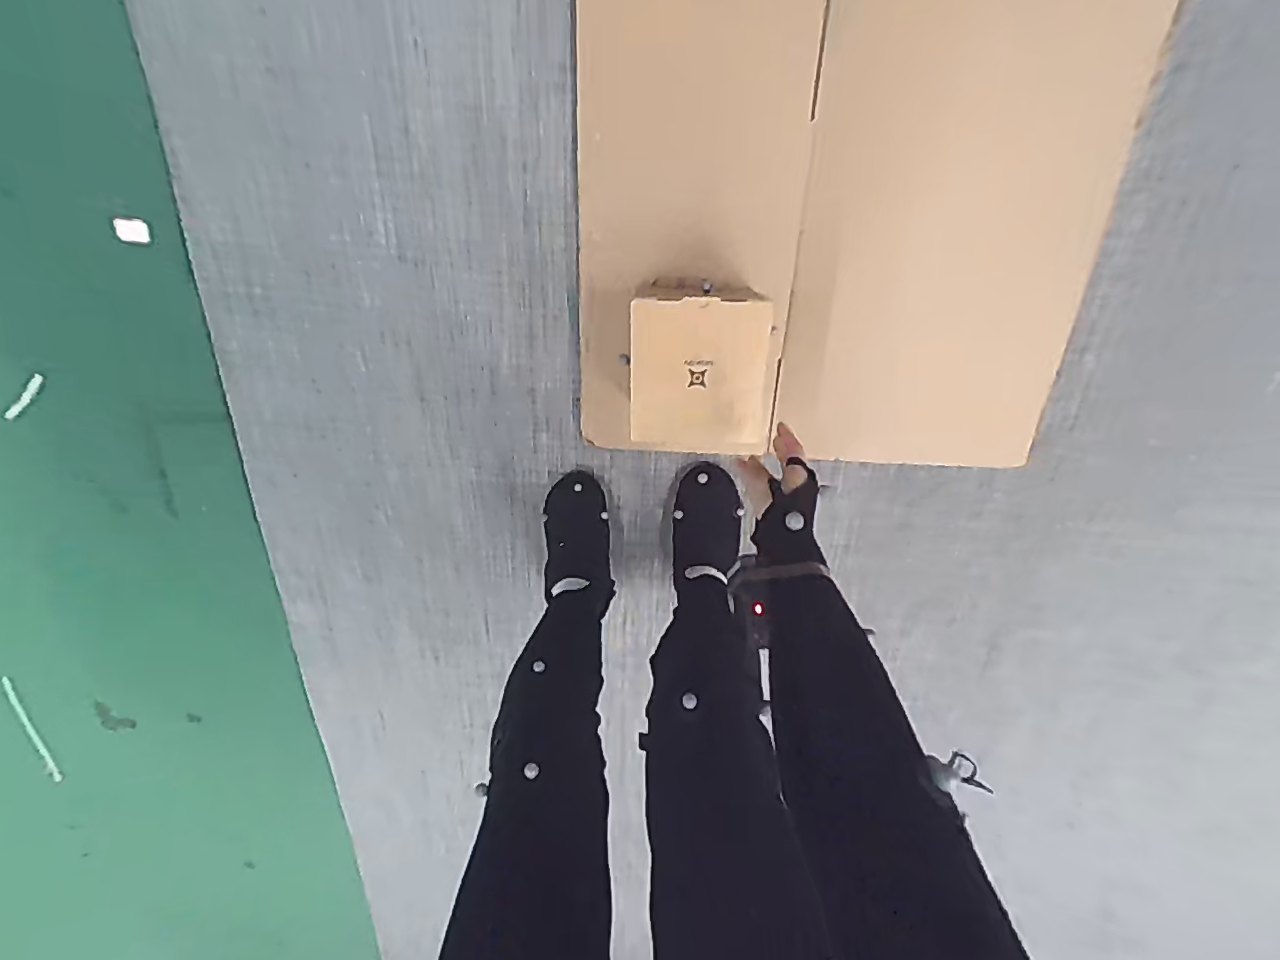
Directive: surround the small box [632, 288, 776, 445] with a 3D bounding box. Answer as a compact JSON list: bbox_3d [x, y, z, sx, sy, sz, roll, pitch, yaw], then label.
[{"bbox_3d":[0.078,-0.158,0.722,0.168,0.176,0.179,1,112,2],"label":"small box"}]
